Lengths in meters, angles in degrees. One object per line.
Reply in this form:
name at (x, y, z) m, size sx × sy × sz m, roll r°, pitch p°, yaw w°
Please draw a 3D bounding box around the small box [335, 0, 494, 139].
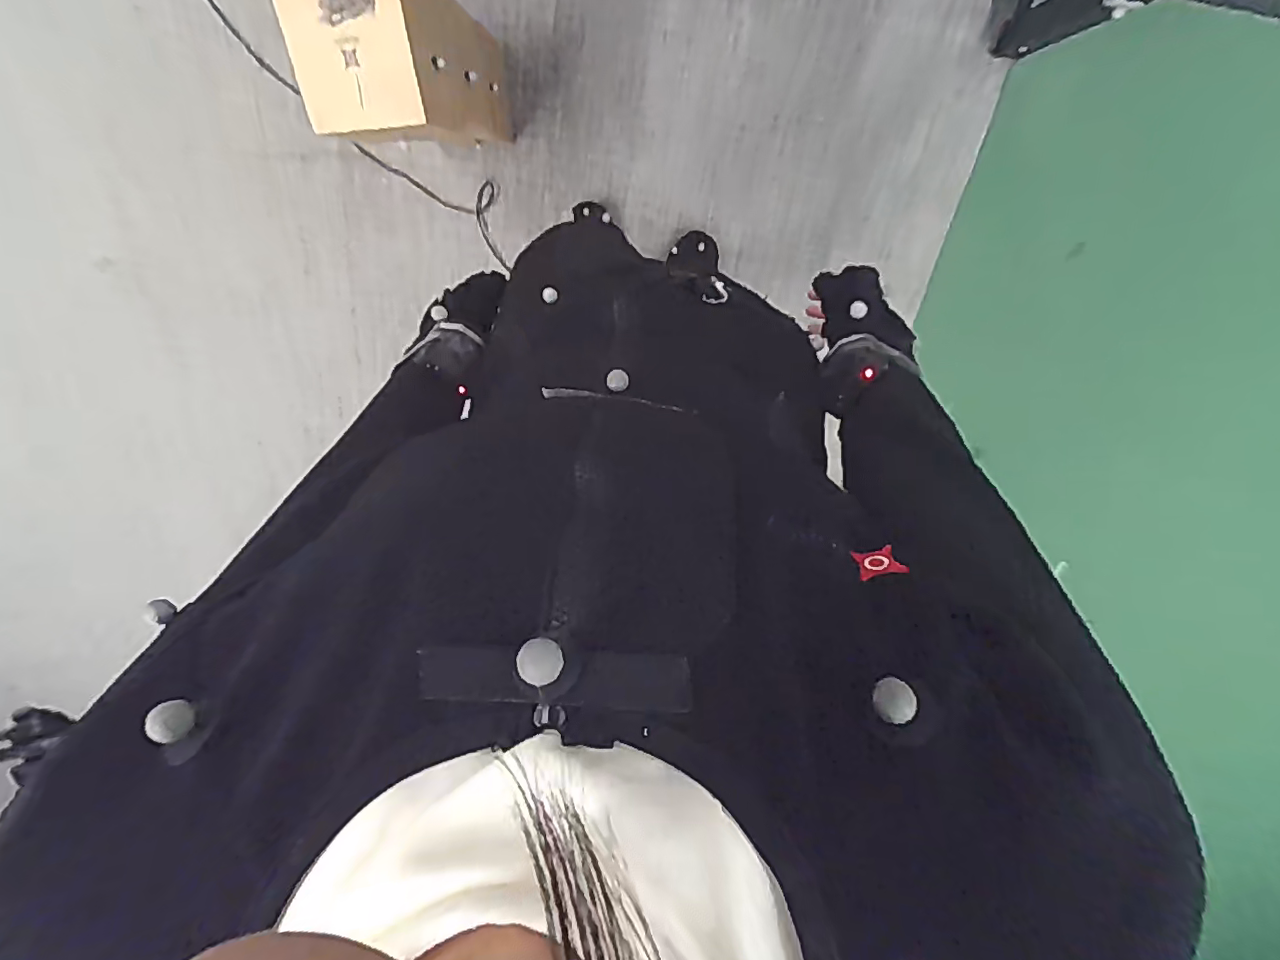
small box at (-0.363, -0.689, 0.912) m, size 0.168 × 0.176 × 0.179 m, roll -4°, pitch 117°, yaw 8°
